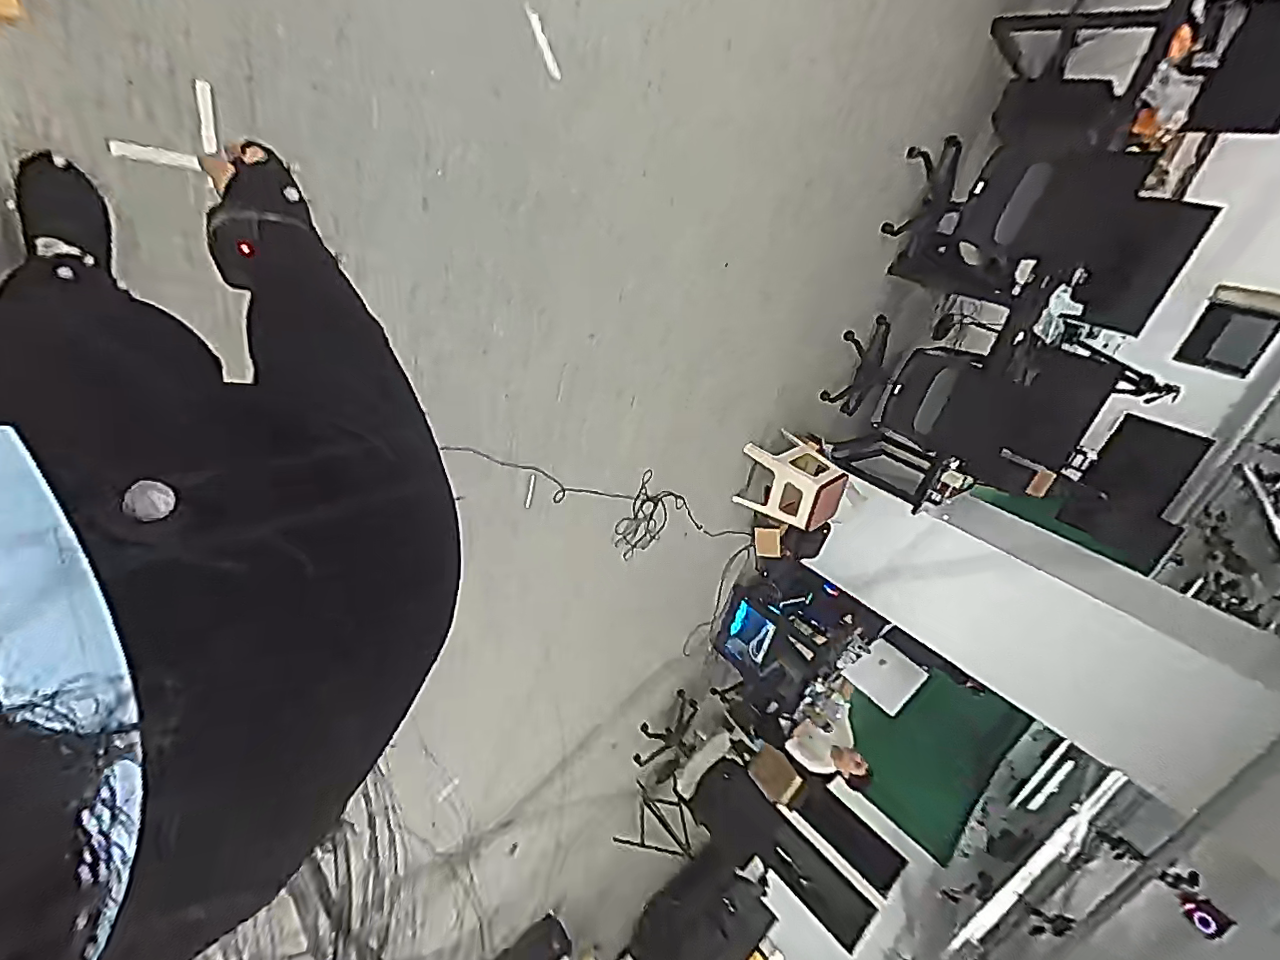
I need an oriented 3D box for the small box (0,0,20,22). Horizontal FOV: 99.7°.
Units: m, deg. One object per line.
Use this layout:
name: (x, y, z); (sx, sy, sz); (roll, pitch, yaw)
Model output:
small box: (-0.734, -0.563, 0.504); (0.168, 0.176, 0.179); (-19, 131, -40)
